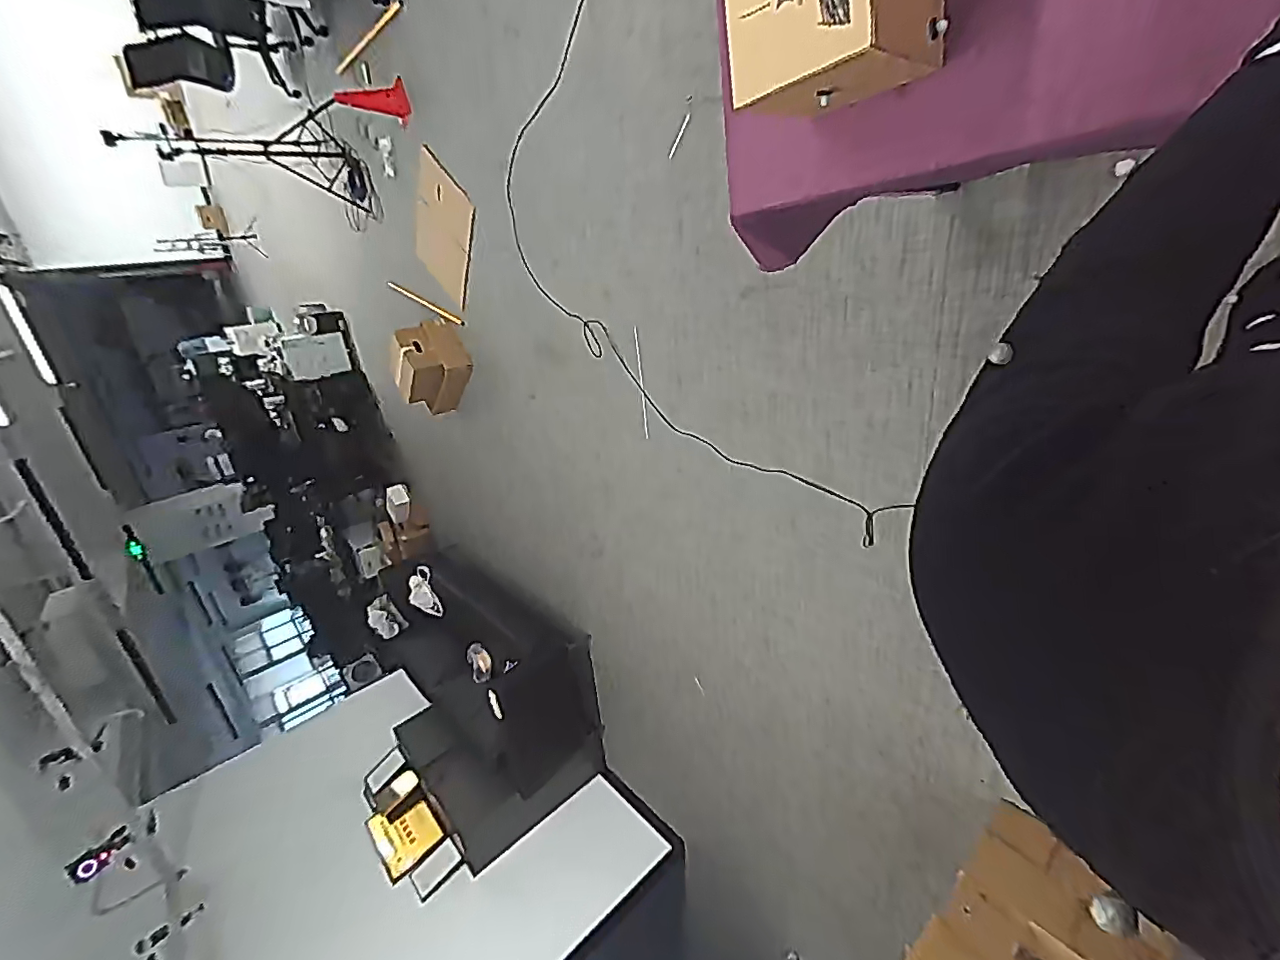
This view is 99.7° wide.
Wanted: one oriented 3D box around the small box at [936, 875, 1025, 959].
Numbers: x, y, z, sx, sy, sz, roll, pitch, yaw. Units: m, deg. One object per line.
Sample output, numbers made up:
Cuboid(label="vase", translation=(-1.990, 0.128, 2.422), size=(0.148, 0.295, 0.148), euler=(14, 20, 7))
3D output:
Cuboid(label="small box", translation=(0.896, 1.217, 1.446), size=(0.168, 0.176, 0.179), euler=(28, 132, 43))

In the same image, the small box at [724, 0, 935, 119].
Cuboid(label="small box", translation=(0.218, -0.534, 0.613), size=(0.179, 0.176, 0.168), euler=(13, 119, 49))

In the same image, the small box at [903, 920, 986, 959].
Cuboid(label="small box", translation=(0.766, 1.262, 1.358), size=(0.179, 0.176, 0.168), euler=(28, 131, 42))
